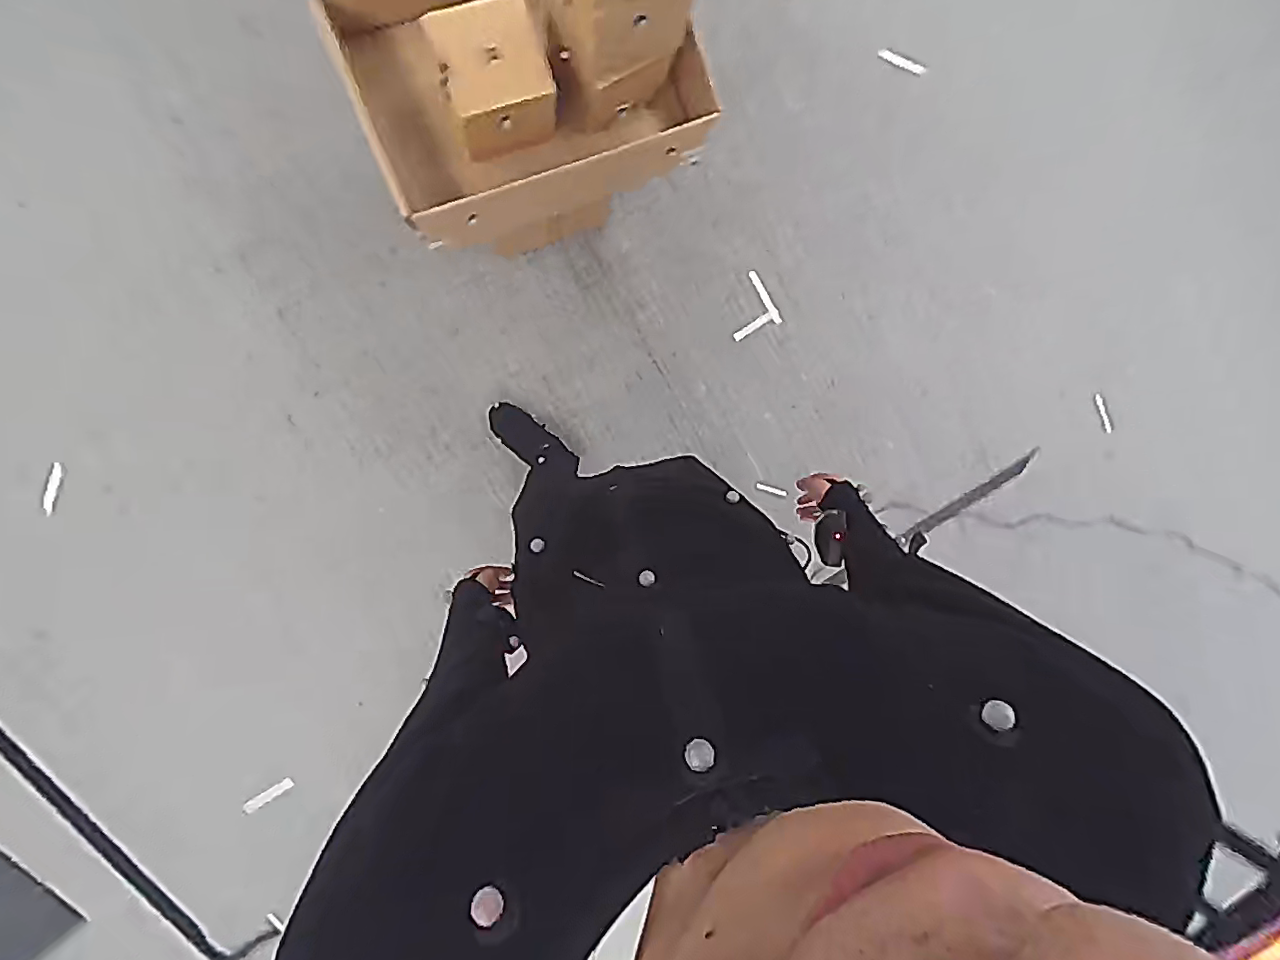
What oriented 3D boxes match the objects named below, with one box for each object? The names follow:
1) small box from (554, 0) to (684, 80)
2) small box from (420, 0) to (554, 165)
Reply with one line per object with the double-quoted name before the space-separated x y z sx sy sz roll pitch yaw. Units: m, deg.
"small box" -0.037 -0.773 0.838 0.179 0.176 0.168 -26 100 -4
"small box" -0.267 -0.710 0.979 0.179 0.176 0.168 -22 99 -6
